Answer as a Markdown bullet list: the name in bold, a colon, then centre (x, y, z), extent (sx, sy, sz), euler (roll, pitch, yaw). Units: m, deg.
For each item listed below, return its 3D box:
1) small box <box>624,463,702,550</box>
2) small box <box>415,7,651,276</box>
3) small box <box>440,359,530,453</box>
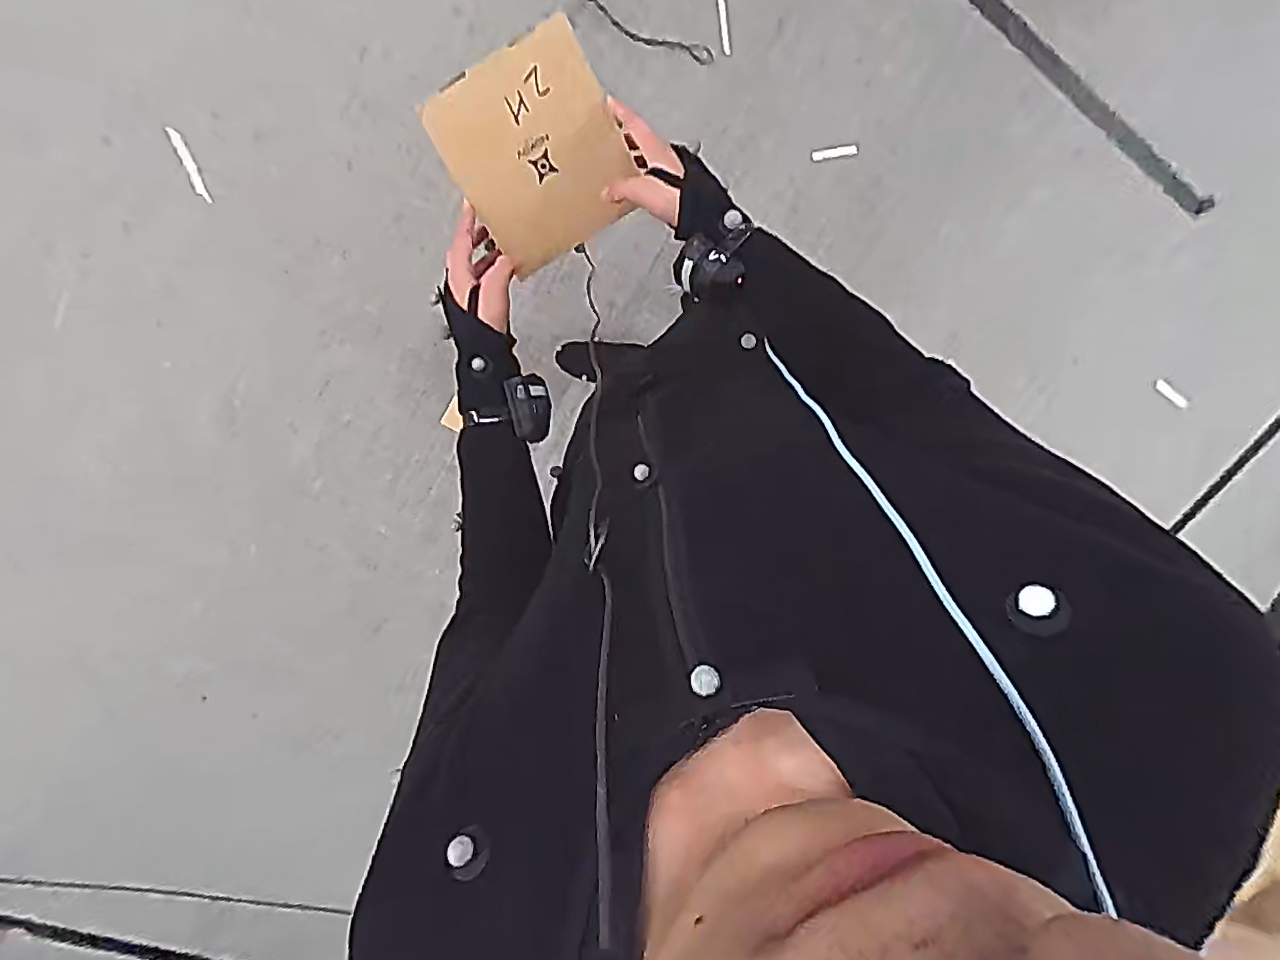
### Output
- **small box**: centre (0.061, 0.074, 1.631), extent (0.168, 0.176, 0.179), euler (29, 107, -16)
- **small box**: centre (-0.109, -0.352, 0.591), extent (0.168, 0.176, 0.179), euler (-29, 118, 3)
- **small box**: centre (-0.413, -0.208, 1.472), extent (0.168, 0.176, 0.179), euler (31, 107, -15)
